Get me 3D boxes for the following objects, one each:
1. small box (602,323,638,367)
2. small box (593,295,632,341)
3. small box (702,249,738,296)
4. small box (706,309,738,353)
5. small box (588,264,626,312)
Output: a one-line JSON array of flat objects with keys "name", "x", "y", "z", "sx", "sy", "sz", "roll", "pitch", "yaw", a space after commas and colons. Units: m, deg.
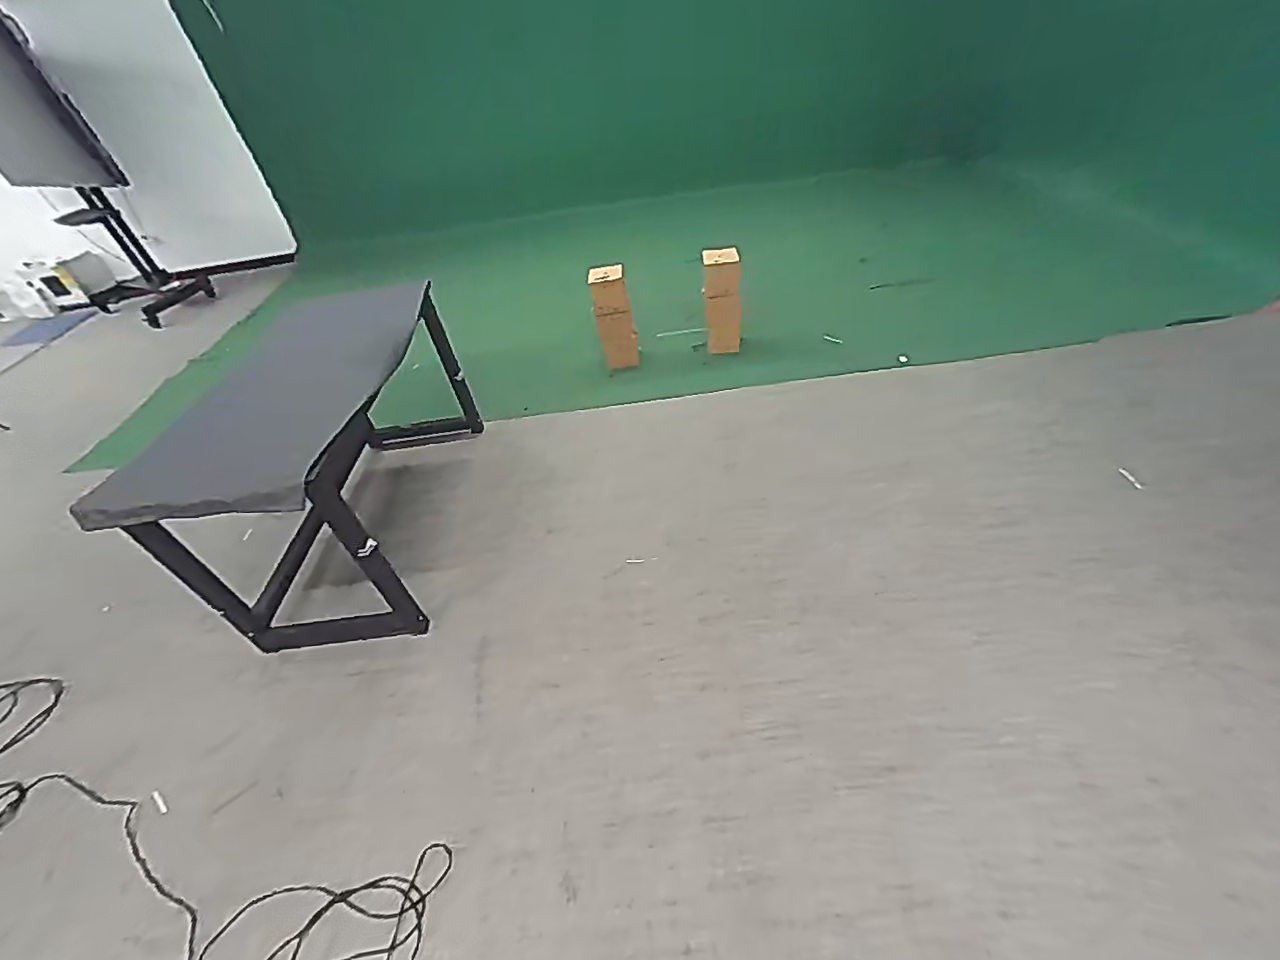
[{"name": "small box", "x": -0.108, "y": -0.726, "z": 2.931, "sx": 0.179, "sy": 0.176, "sz": 0.168, "roll": -7, "pitch": 44, "yaw": 3}, {"name": "small box", "x": -0.141, "y": -0.842, "z": 2.821, "sx": 0.179, "sy": 0.176, "sz": 0.168, "roll": -5, "pitch": 44, "yaw": 4}, {"name": "small box", "x": 0.396, "y": -1.029, "z": 2.683, "sx": 0.168, "sy": 0.176, "sz": 0.179, "roll": -4, "pitch": 42, "yaw": 5}, {"name": "small box", "x": 0.441, "y": -0.798, "z": 2.912, "sx": 0.168, "sy": 0.176, "sz": 0.179, "roll": -1, "pitch": 43, "yaw": 8}, {"name": "small box", "x": -0.160, "y": -0.953, "z": 2.701, "sx": 0.168, "sy": 0.176, "sz": 0.179, "roll": -7, "pitch": 43, "yaw": 4}]
